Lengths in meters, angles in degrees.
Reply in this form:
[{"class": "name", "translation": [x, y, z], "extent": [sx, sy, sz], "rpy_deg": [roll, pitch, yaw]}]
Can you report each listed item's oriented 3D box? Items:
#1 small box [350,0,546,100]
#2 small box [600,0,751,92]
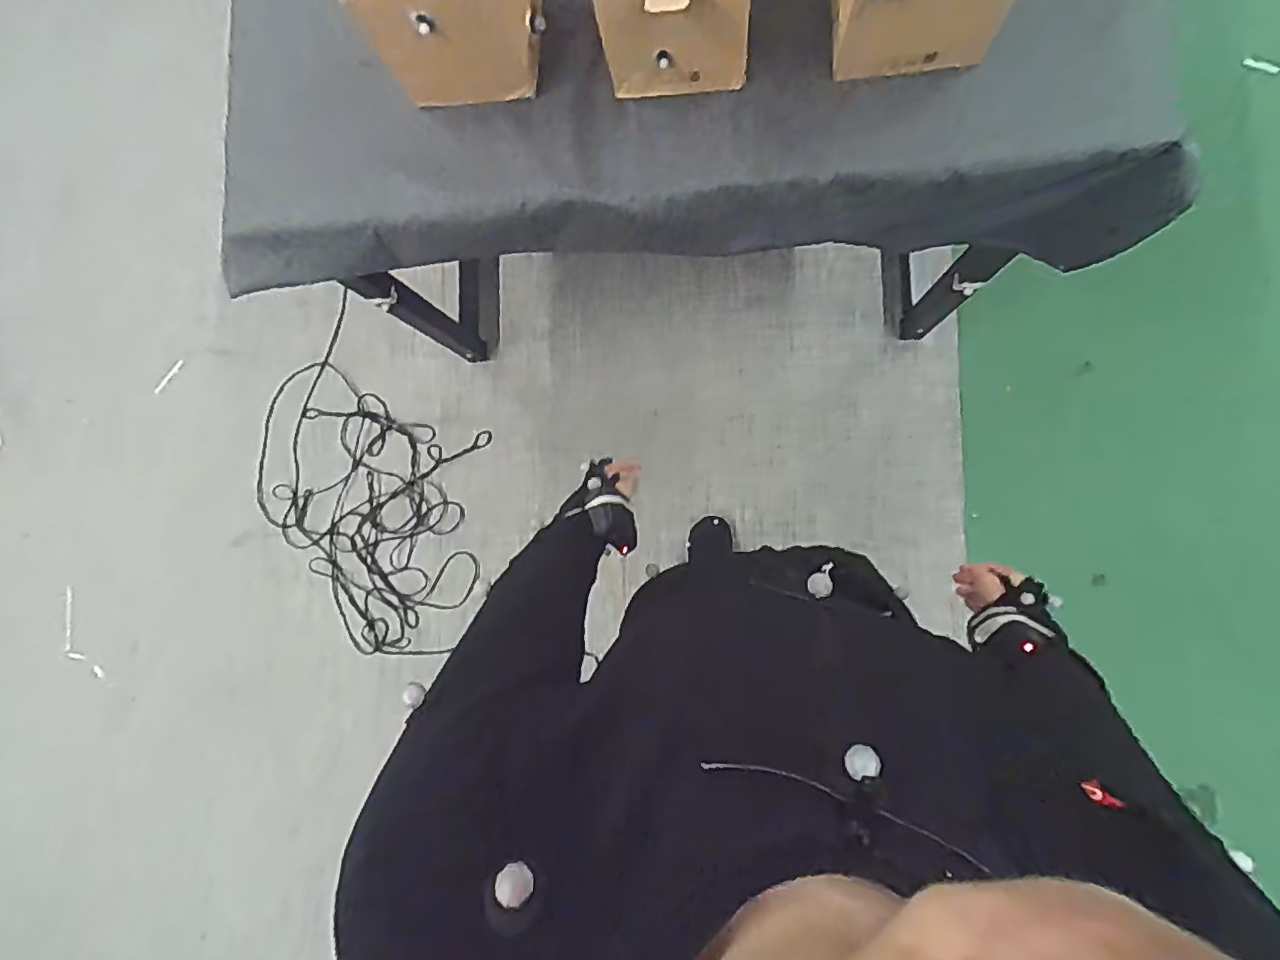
[{"class": "small box", "translation": [-0.225, -0.594, 0.649], "extent": [0.179, 0.176, 0.168], "rpy_deg": [1, 88, 7]}, {"class": "small box", "translation": [0.042, -0.587, 0.610], "extent": [0.168, 0.176, 0.179], "rpy_deg": [1, 87, 8]}]
